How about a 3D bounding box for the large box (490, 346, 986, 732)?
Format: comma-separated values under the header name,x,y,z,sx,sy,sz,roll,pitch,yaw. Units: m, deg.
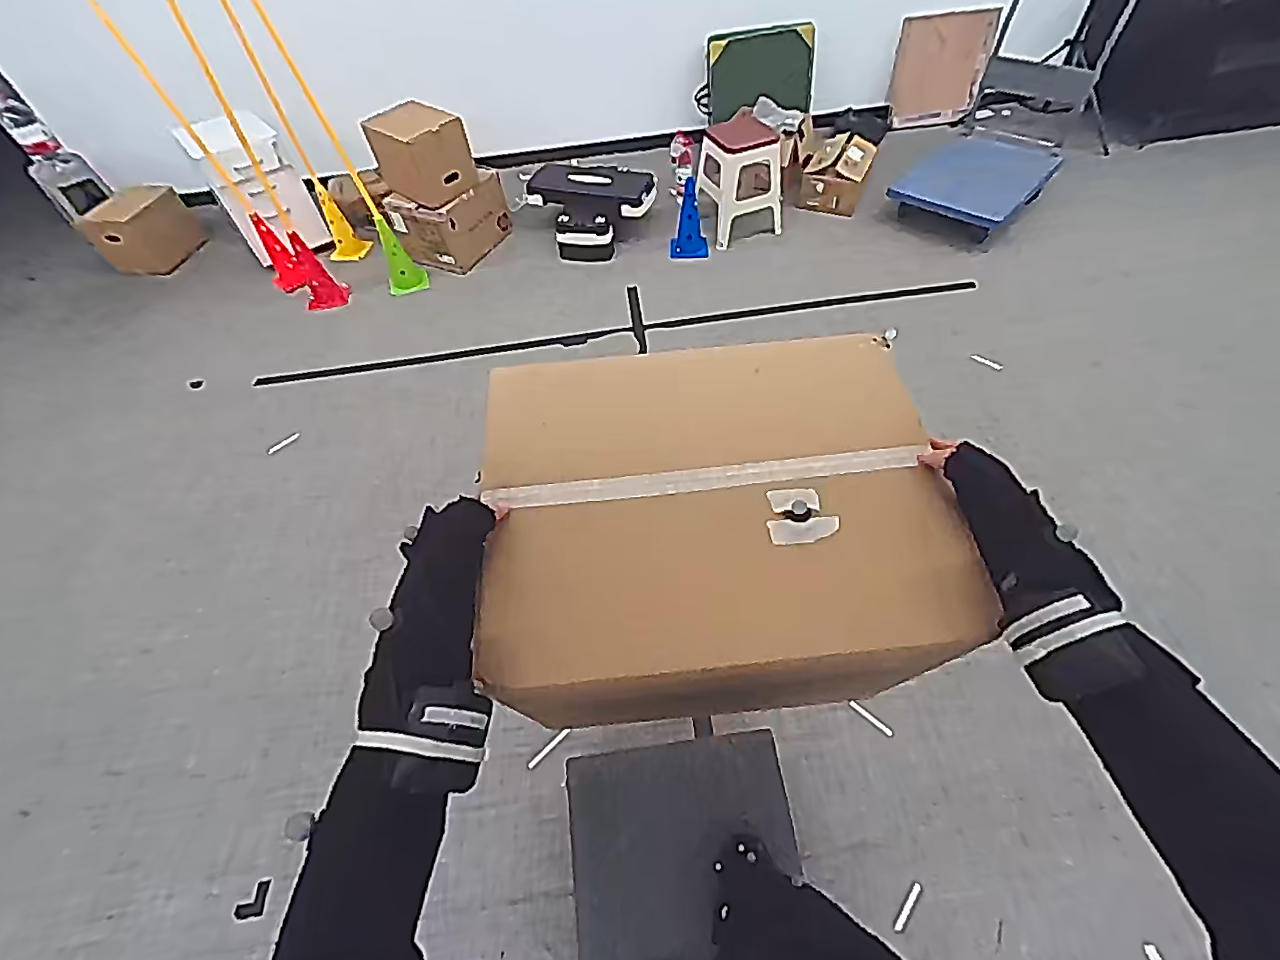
name,x,y,z,sx,sy,sz,roll,pitch,yaw
large box,0.066,0.084,0.623,0.408,0.320,0.320,-6,60,-2
